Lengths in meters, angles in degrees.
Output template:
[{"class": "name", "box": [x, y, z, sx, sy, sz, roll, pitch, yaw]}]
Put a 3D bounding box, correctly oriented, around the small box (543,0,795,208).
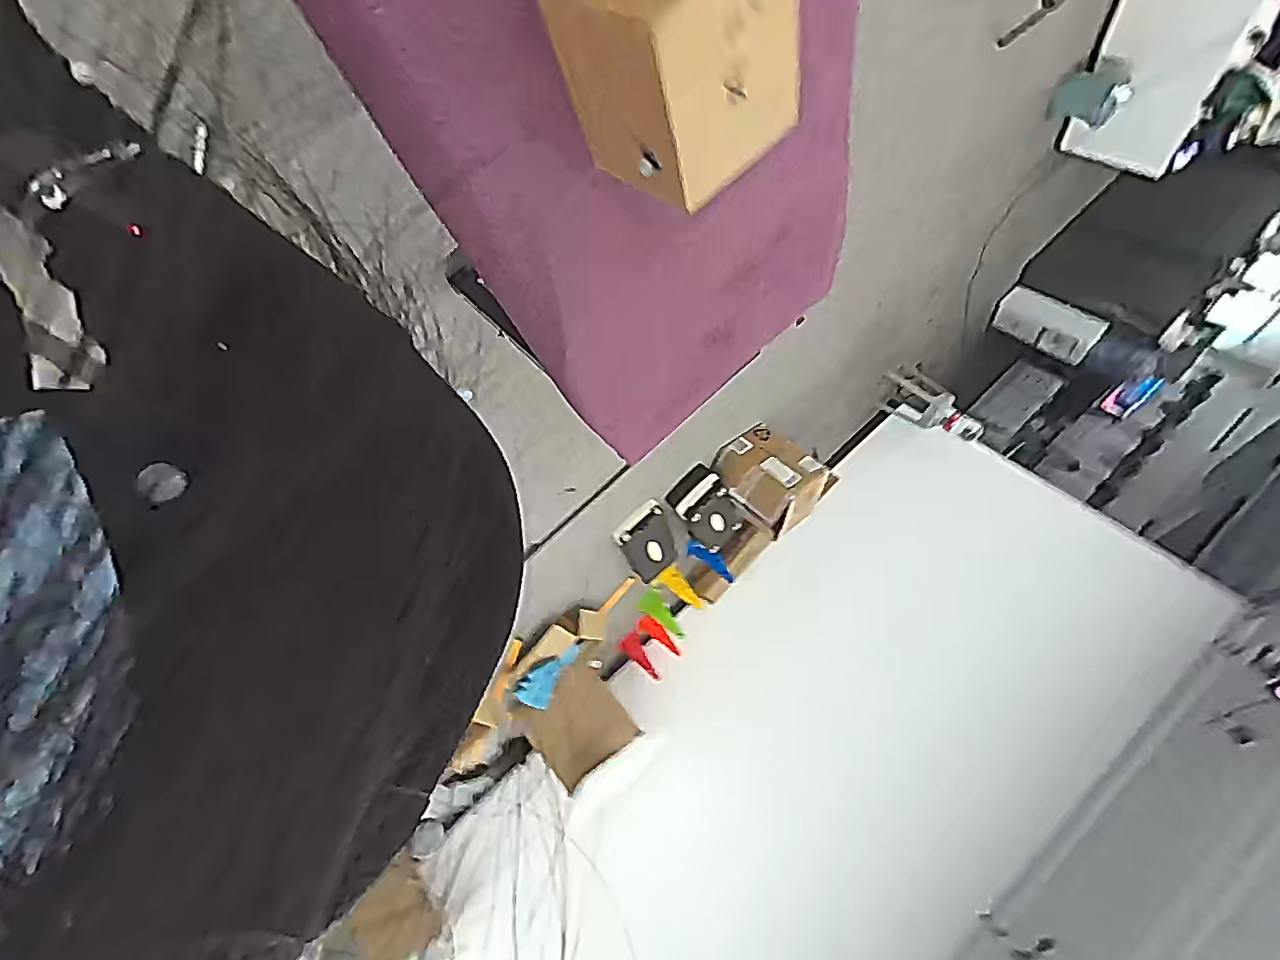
[{"class": "small box", "box": [0.035, -0.424, 0.546, 0.168, 0.176, 0.179, -44, 150, -8]}]
